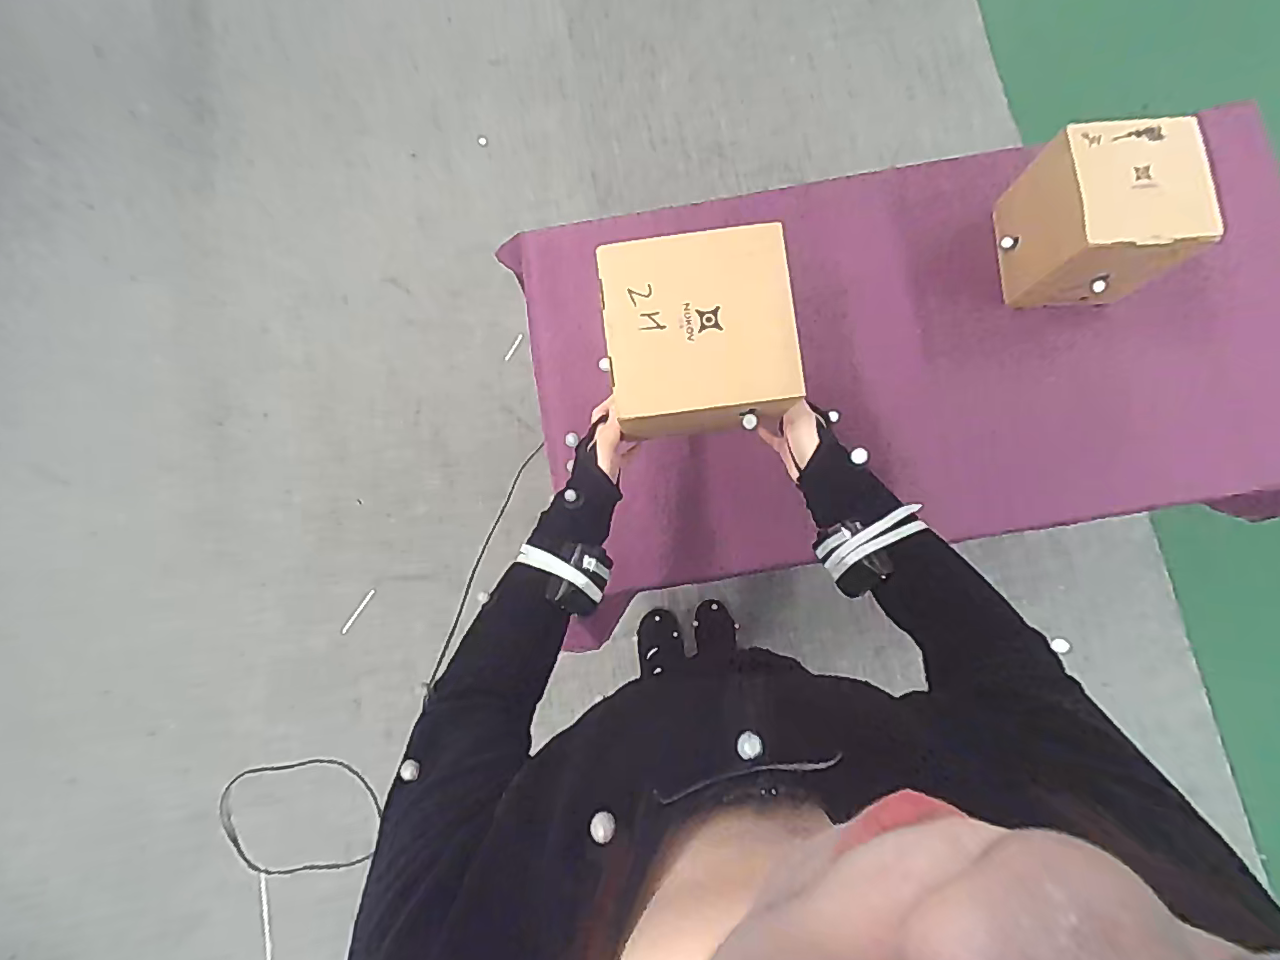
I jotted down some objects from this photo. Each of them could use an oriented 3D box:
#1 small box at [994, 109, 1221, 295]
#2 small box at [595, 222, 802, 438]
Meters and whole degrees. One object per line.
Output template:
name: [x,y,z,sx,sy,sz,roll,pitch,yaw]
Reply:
small box: [0.635,-0.374,0.759,0.168,0.176,0.179,-2,81,2]
small box: [0.054,-0.142,0.572,0.179,0.176,0.168,-7,86,2]
